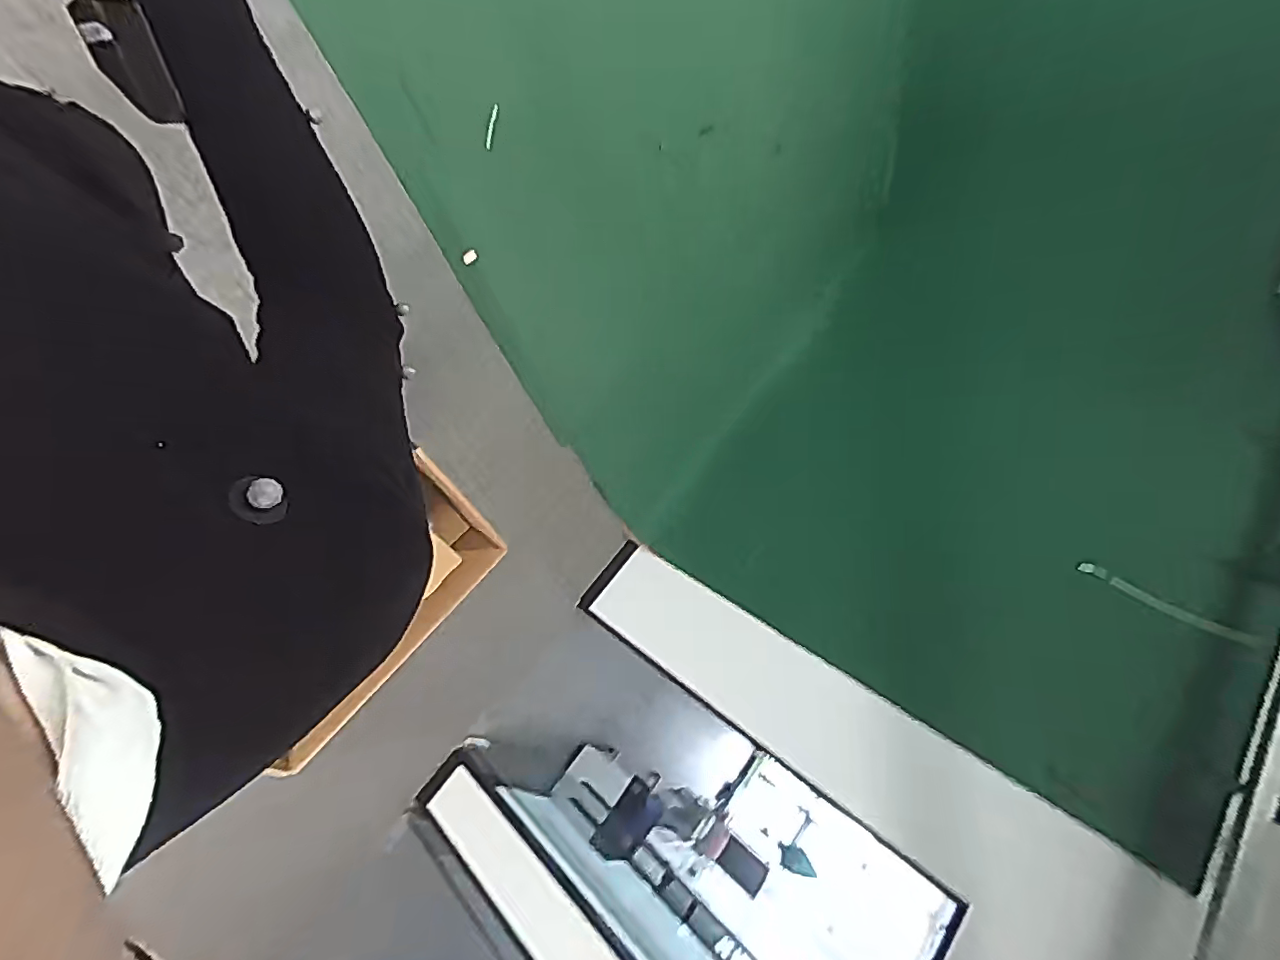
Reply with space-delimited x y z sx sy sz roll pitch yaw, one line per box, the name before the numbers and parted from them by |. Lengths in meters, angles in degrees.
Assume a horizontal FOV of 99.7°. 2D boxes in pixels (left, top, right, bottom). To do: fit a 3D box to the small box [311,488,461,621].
small box | -0.502 0.144 1.076 0.168 0.176 0.179 -48 147 -19
